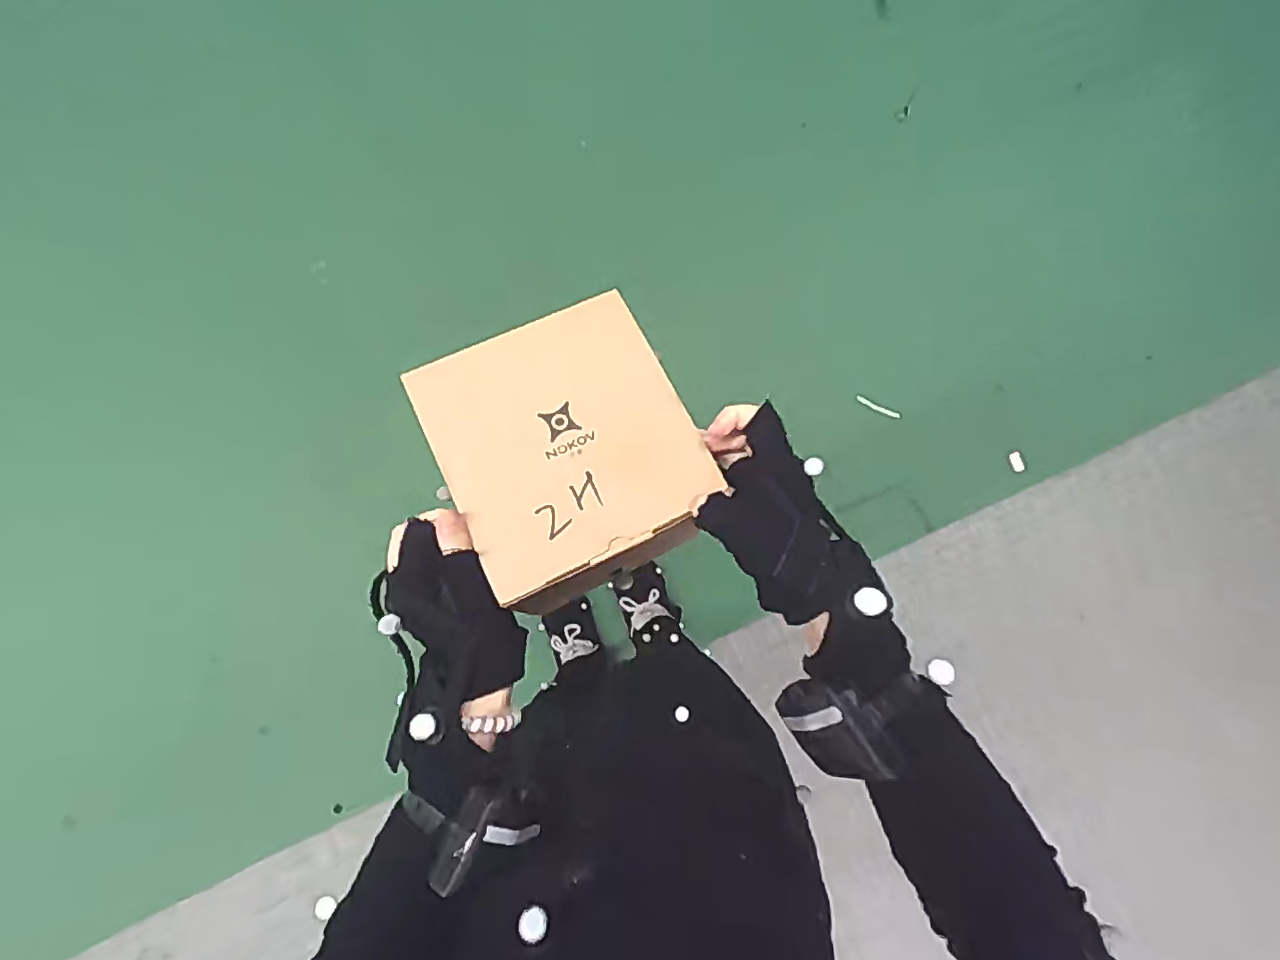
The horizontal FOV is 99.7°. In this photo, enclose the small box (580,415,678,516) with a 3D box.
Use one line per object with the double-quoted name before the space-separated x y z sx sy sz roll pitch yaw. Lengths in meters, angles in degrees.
"small box" -0.024 -0.031 1.248 0.168 0.176 0.179 -24 89 -2
